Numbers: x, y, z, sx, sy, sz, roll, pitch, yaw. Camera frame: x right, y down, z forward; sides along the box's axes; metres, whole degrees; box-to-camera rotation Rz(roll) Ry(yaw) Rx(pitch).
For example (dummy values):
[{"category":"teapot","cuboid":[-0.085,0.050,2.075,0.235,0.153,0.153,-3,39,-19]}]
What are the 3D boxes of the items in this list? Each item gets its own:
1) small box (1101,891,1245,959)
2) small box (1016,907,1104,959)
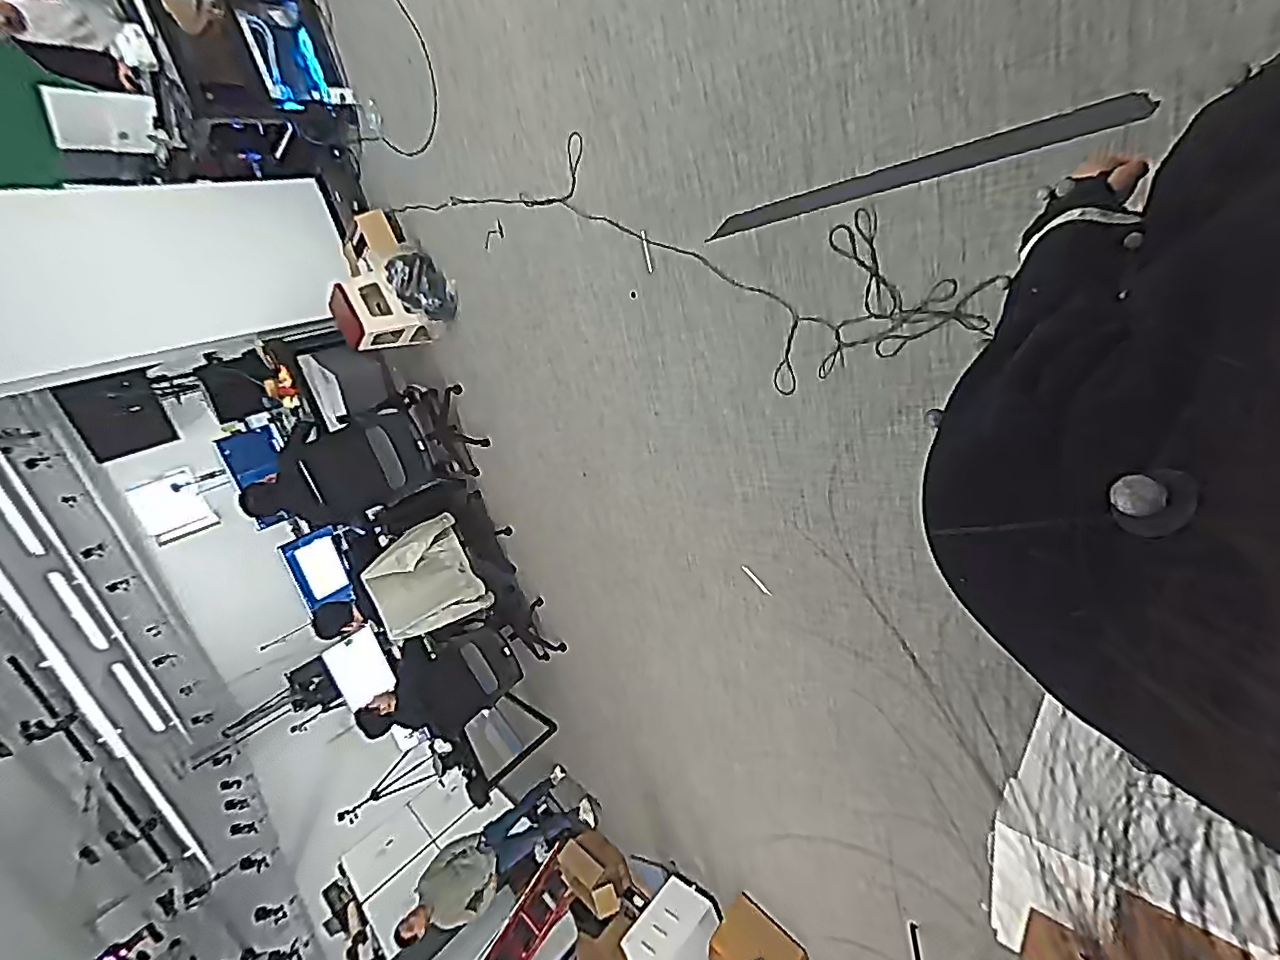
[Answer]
[{"category":"small box","cuboid":[0.889,0.855,0.908,0.168,0.176,0.179,12,123,44]},{"category":"small box","cuboid":[0.846,1.012,1.064,0.168,0.176,0.179,8,117,44]}]
